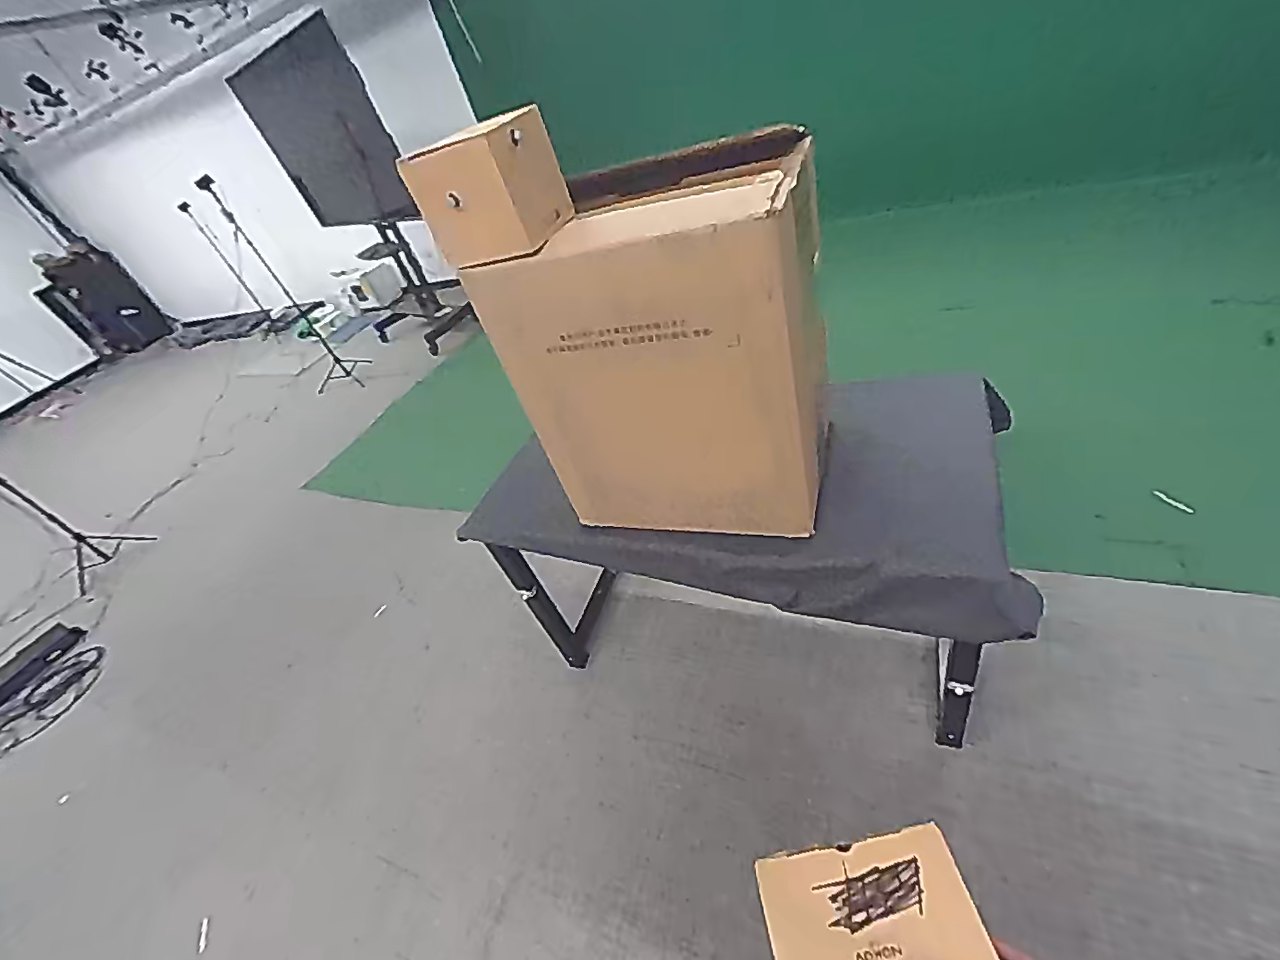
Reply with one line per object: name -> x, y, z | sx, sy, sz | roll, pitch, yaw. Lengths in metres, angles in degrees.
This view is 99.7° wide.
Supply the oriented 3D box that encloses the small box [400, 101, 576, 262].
small box -> -0.232, -0.468, 0.865 | 0.179, 0.176, 0.168 | 1, 45, 26
